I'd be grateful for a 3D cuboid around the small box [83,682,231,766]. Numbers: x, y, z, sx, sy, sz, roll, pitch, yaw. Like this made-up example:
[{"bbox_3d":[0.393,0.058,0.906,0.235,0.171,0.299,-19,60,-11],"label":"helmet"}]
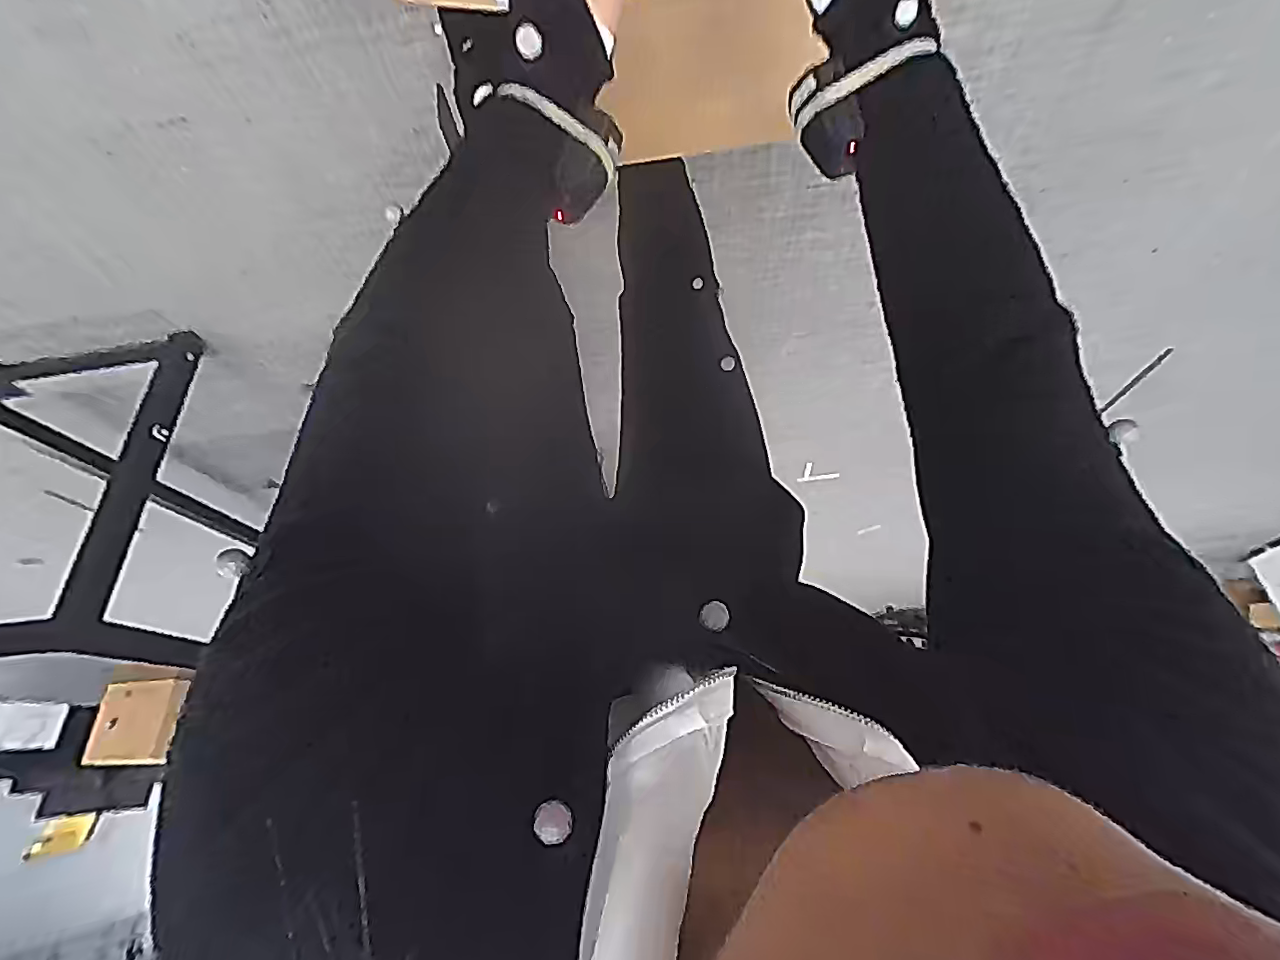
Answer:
[{"bbox_3d":[-1.122,0.571,1.273,0.168,0.176,0.179,-5,154,4],"label":"small box"}]
